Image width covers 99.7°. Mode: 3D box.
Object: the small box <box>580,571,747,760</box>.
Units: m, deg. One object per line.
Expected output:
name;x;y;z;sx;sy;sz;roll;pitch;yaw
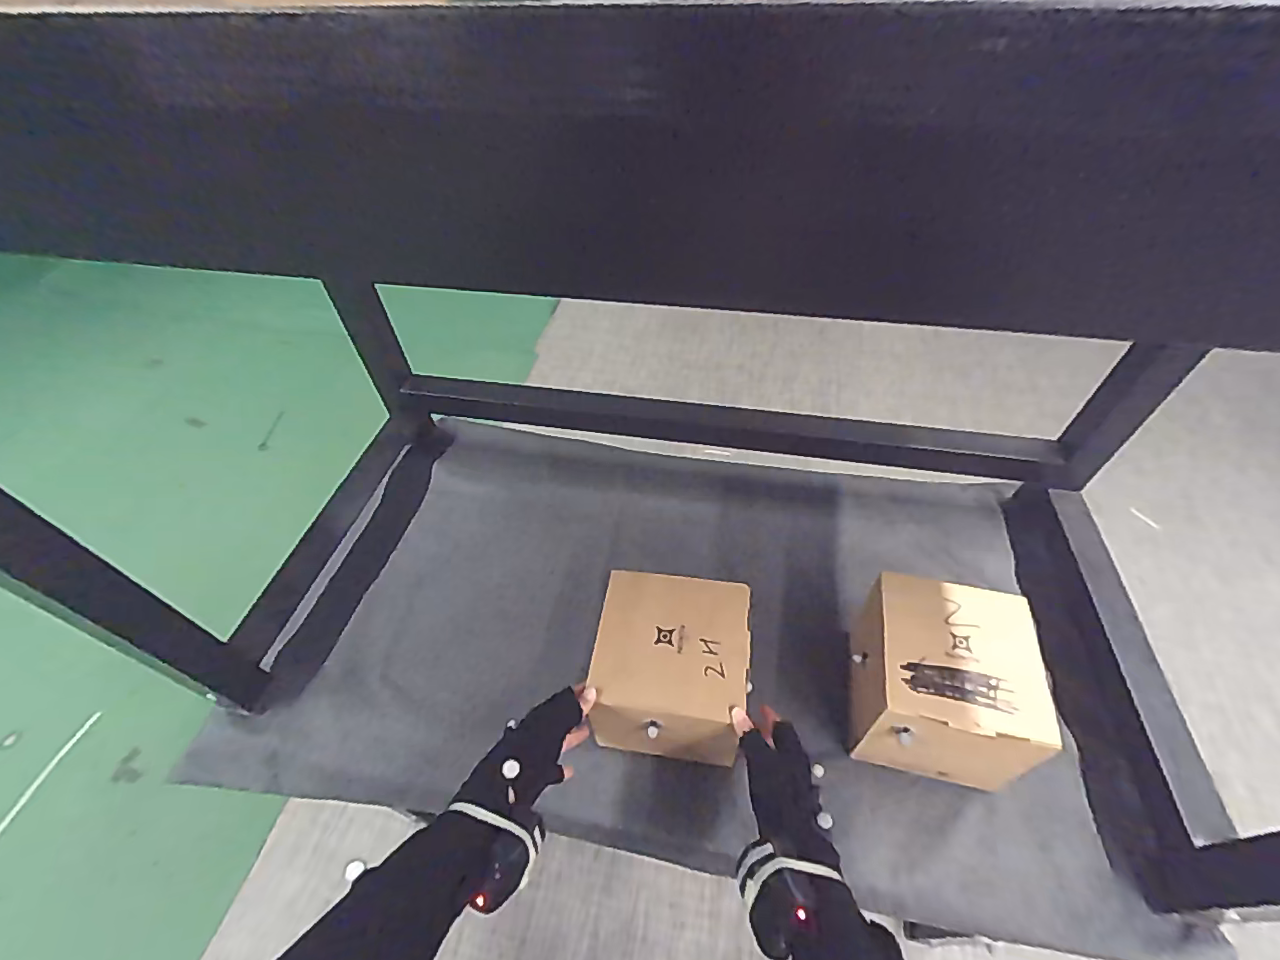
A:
small box;0.037;0.237;0.683;0.179;0.176;0.168;6;50;8
